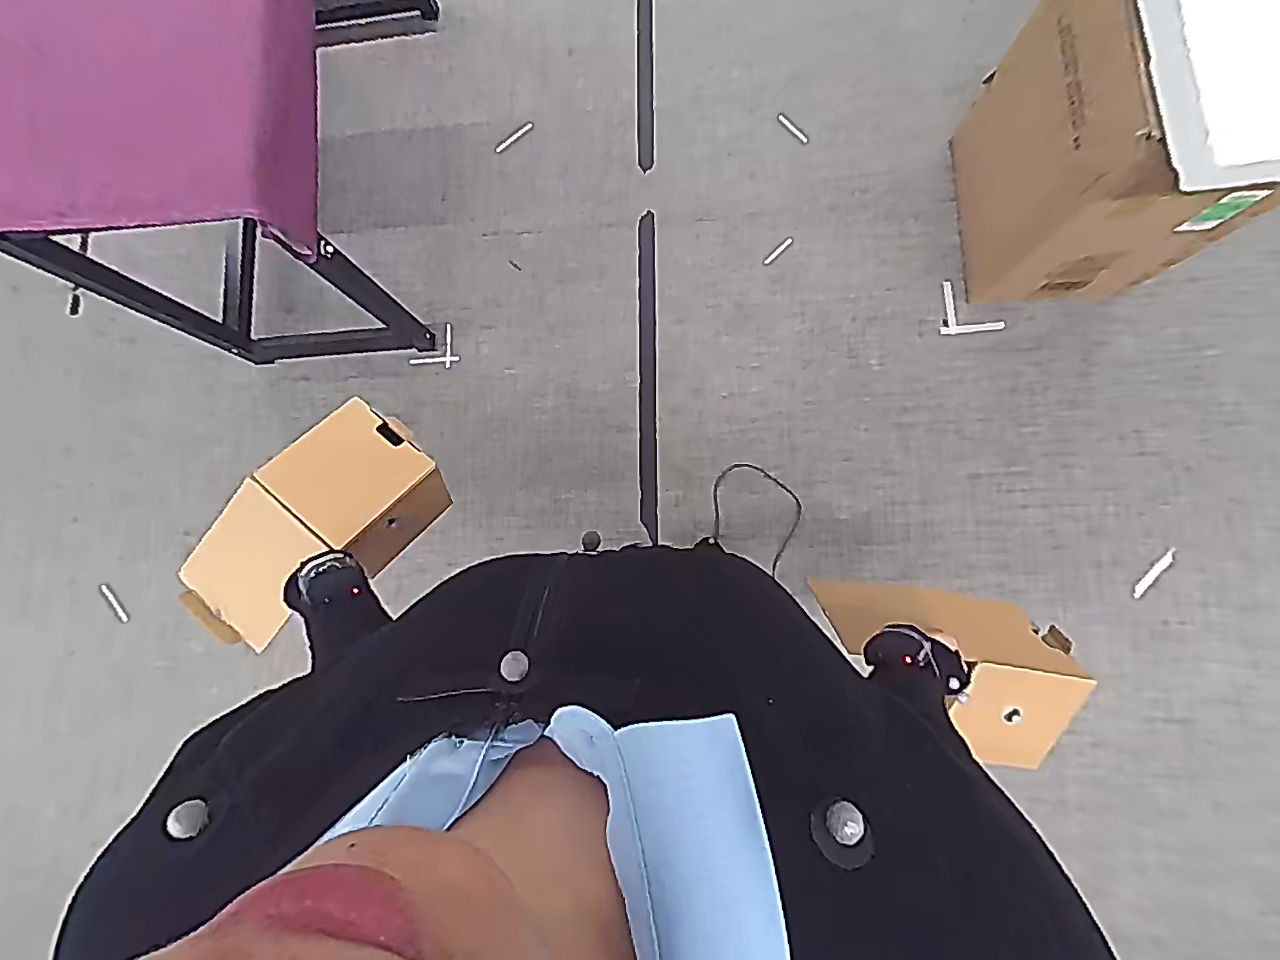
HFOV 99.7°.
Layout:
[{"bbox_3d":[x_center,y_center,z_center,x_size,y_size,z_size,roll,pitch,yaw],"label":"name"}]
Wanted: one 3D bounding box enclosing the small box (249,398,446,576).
[{"bbox_3d":[-0.416,0.019,0.807,0.168,0.176,0.179,39,66,6],"label":"small box"}]
